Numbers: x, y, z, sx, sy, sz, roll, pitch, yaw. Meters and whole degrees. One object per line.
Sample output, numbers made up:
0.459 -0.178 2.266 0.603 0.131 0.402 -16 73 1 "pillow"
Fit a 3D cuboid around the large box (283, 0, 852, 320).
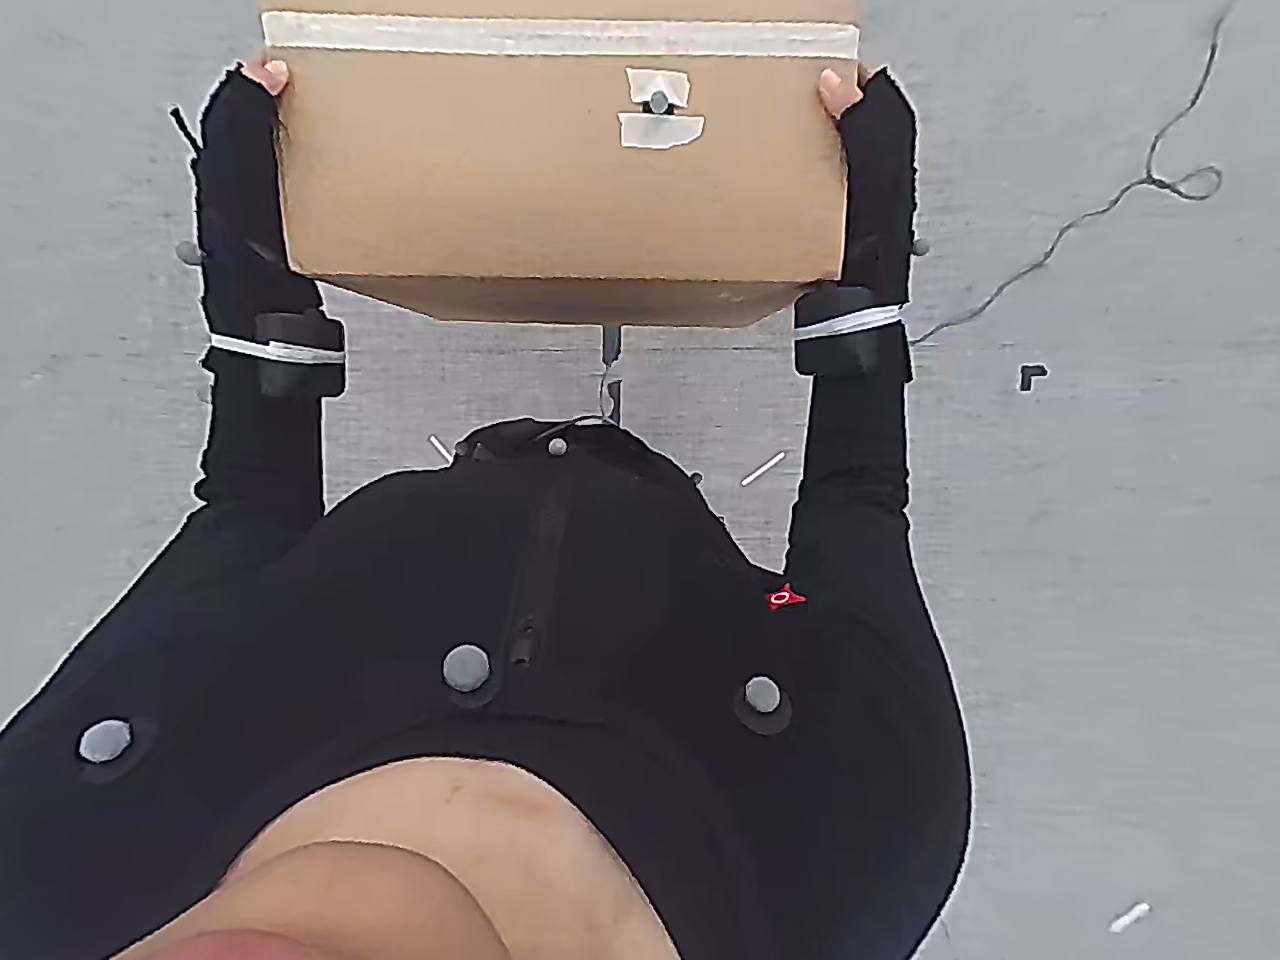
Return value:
-0.055 -0.333 0.527 0.408 0.320 0.320 0 101 -2 "large box"
